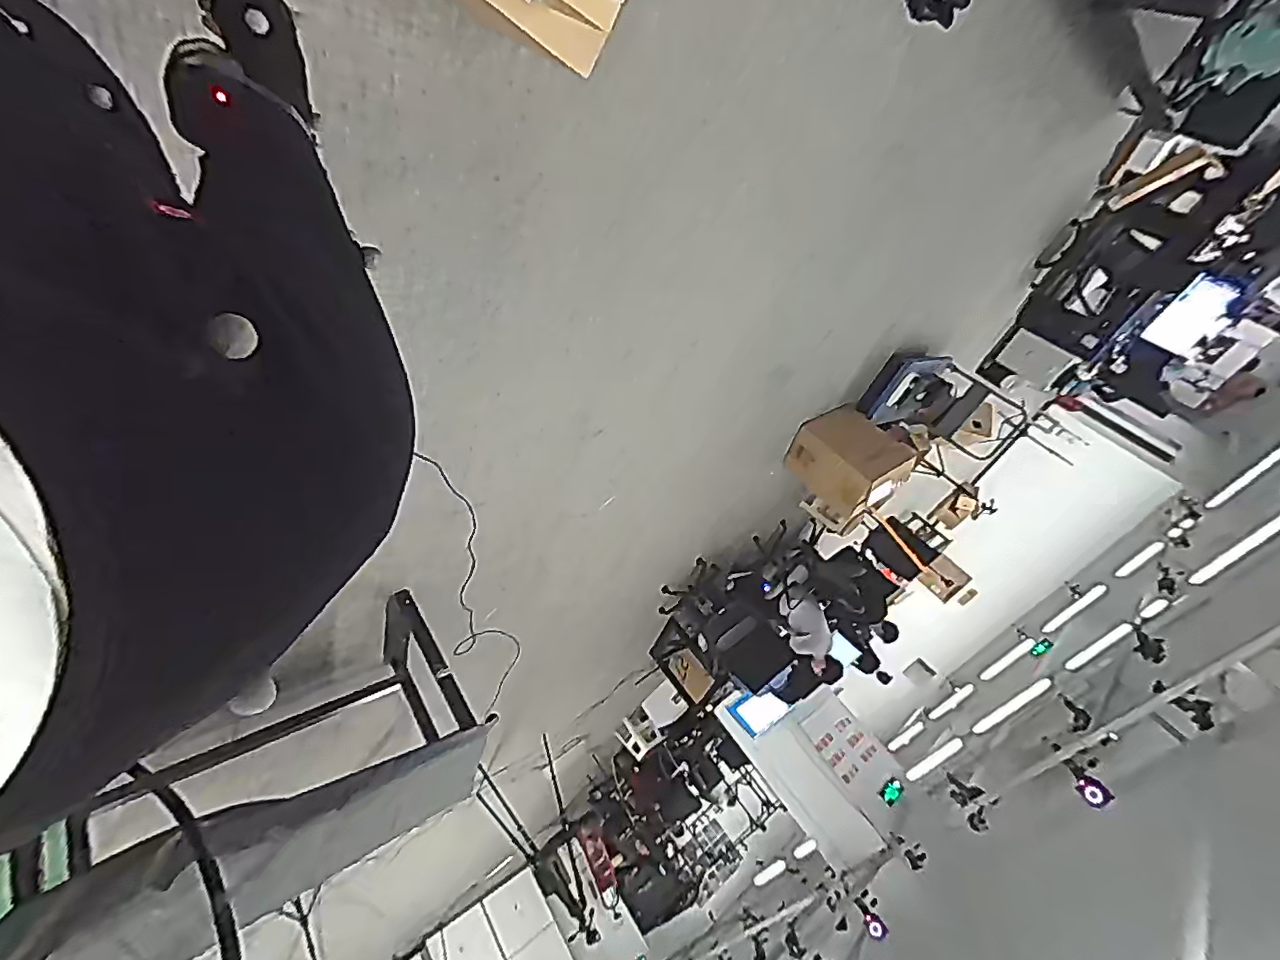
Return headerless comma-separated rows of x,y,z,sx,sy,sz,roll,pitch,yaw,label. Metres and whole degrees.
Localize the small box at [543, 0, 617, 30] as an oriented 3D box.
-0.128,-0.858,0.844,0.179,0.176,0.168,-6,136,-47,small box
